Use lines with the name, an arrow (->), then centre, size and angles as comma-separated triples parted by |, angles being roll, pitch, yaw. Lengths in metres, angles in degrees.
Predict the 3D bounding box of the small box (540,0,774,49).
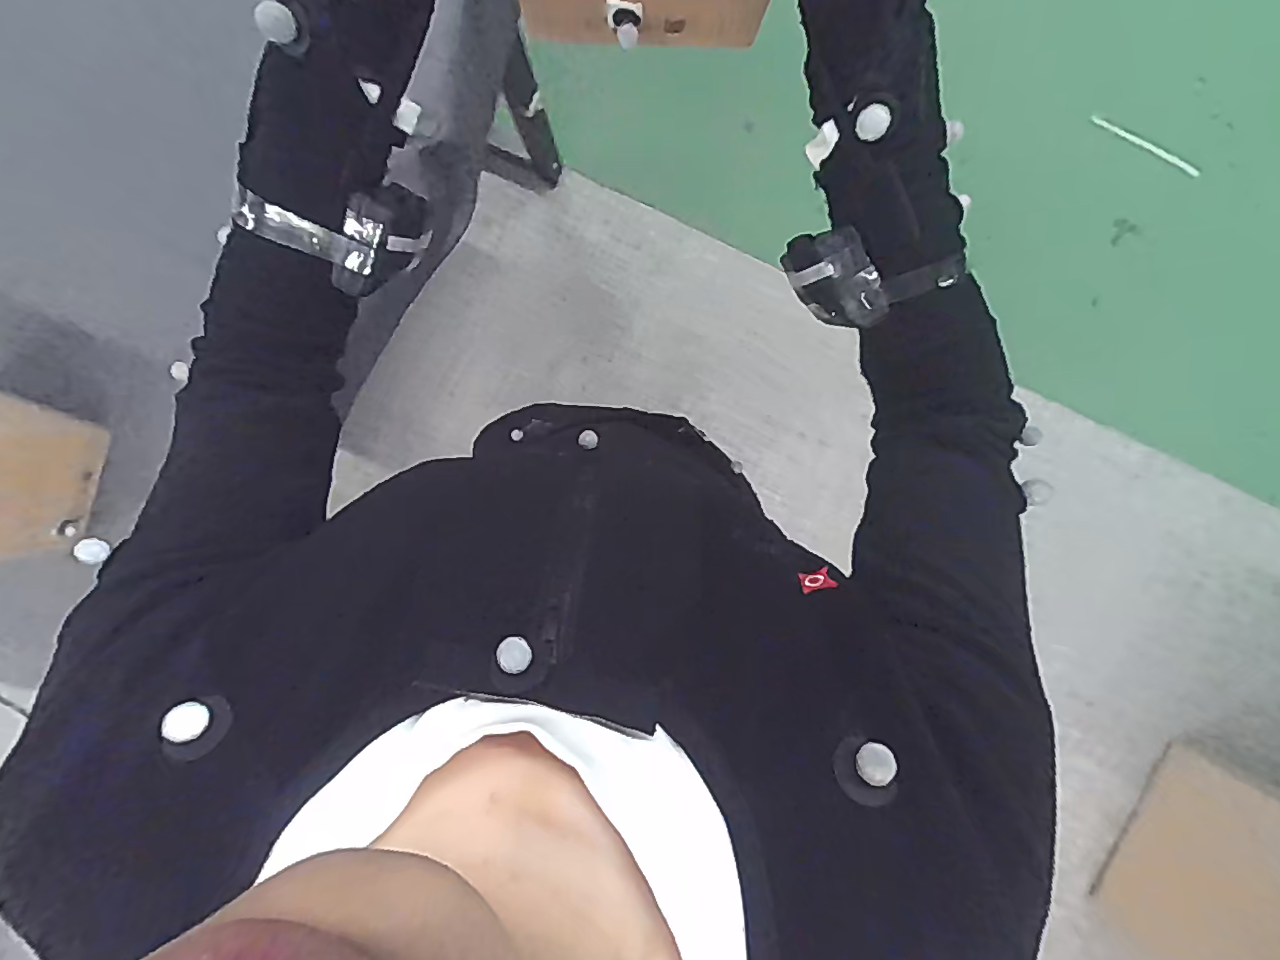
small box -> 0.012, -0.392, 0.303 | 0.168, 0.176, 0.179 | 2, 102, -1

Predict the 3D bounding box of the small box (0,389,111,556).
small box -> -0.803, -0.014, 0.644 | 0.179, 0.176, 0.168 | 20, 95, -1
